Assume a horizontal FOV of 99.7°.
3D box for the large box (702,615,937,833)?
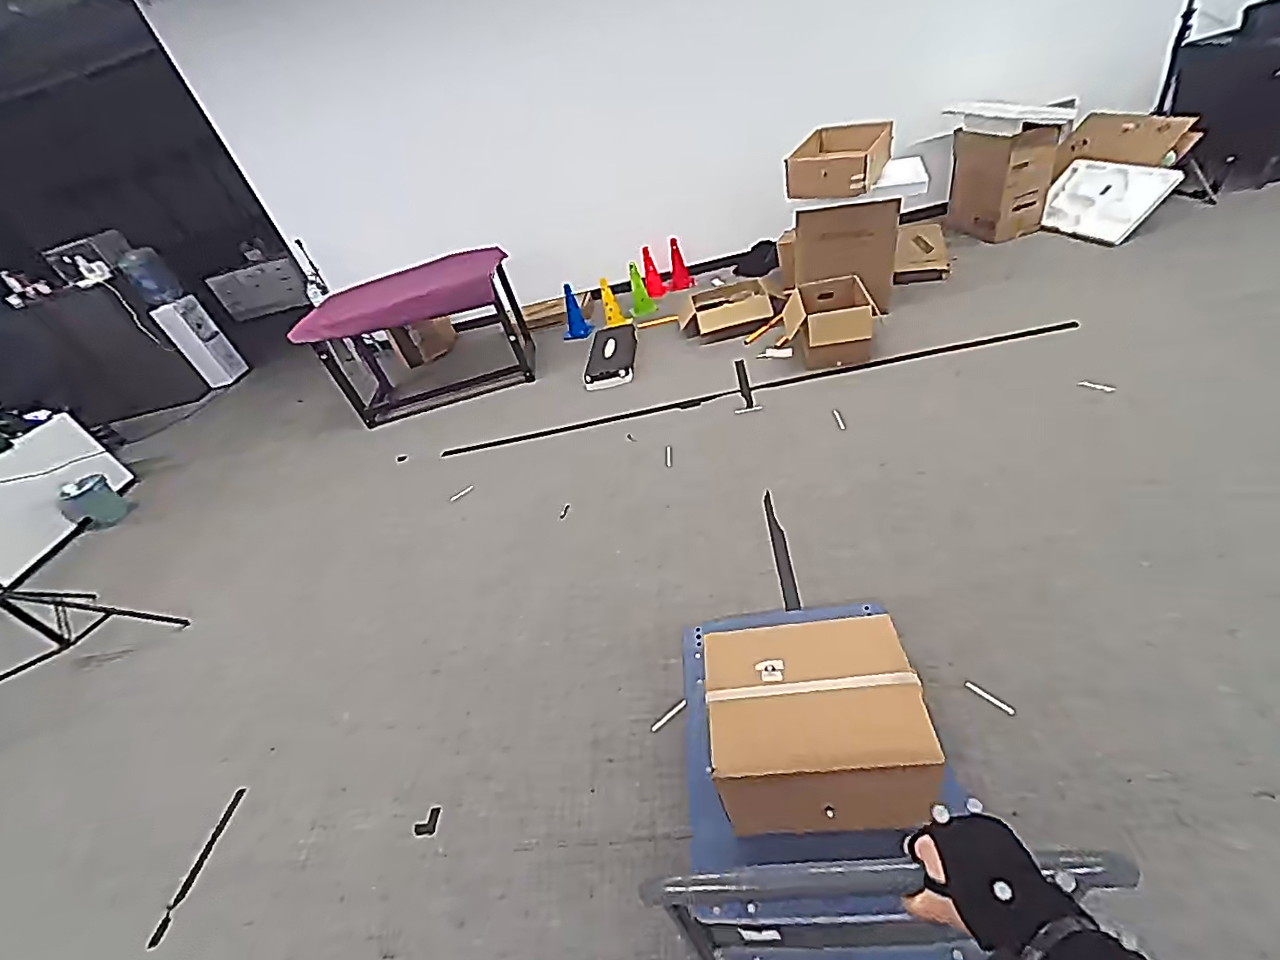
[{"bbox_3d":[0.372,0.538,1.183,0.408,0.320,0.320,-11,37,11],"label":"large box"}]
